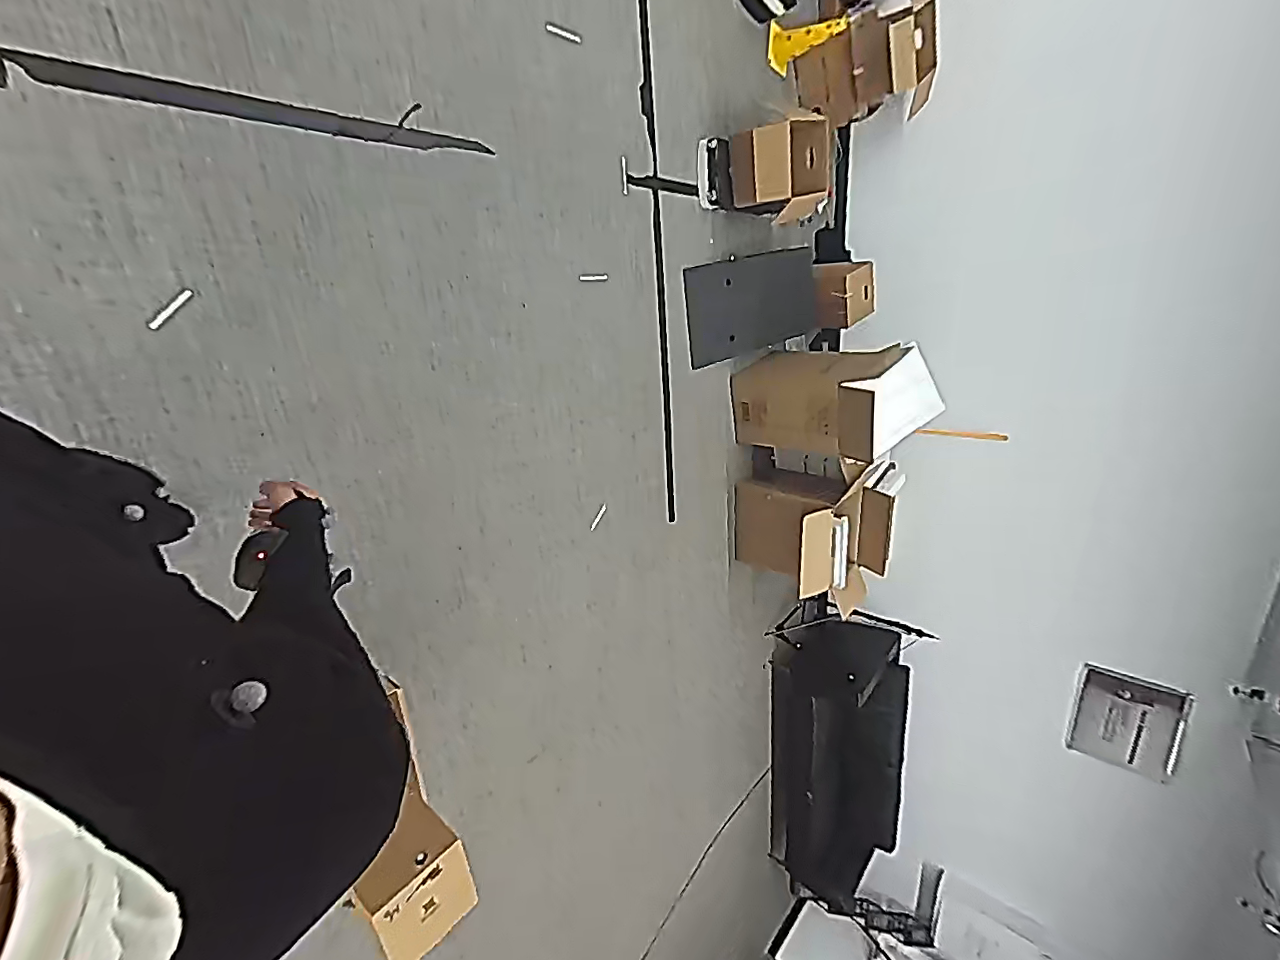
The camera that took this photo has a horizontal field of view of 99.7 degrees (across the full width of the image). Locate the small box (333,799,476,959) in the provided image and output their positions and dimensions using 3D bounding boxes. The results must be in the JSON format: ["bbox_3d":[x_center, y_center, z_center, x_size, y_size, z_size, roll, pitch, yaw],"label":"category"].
[{"bbox_3d":[-0.431,0.742,0.997,0.168,0.176,0.179,-27,120,-44],"label":"small box"}]
